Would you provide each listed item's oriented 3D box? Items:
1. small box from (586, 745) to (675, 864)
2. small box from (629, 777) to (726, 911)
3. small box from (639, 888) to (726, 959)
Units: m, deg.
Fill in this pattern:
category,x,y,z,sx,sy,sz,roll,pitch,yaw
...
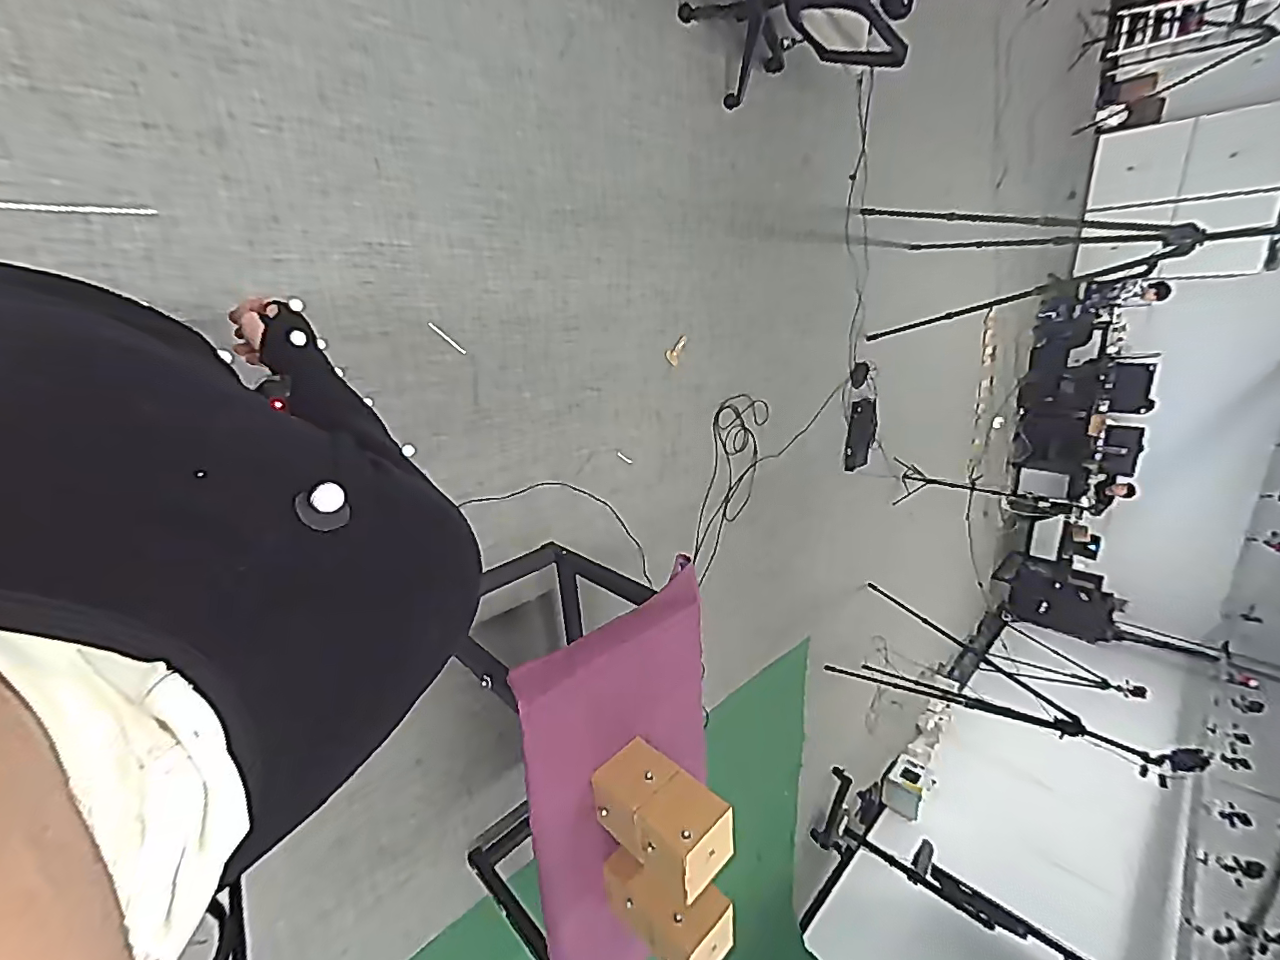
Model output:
category,x,y,z,sx,sy,sz,roll,pitch,yaw
small box,-0.022,0.851,1.439,0.179,0.176,0.168,-21,115,-40
small box,0.094,0.881,1.329,0.179,0.176,0.168,-21,116,-40
small box,0.108,1.195,1.429,0.179,0.176,0.168,-19,115,-42
